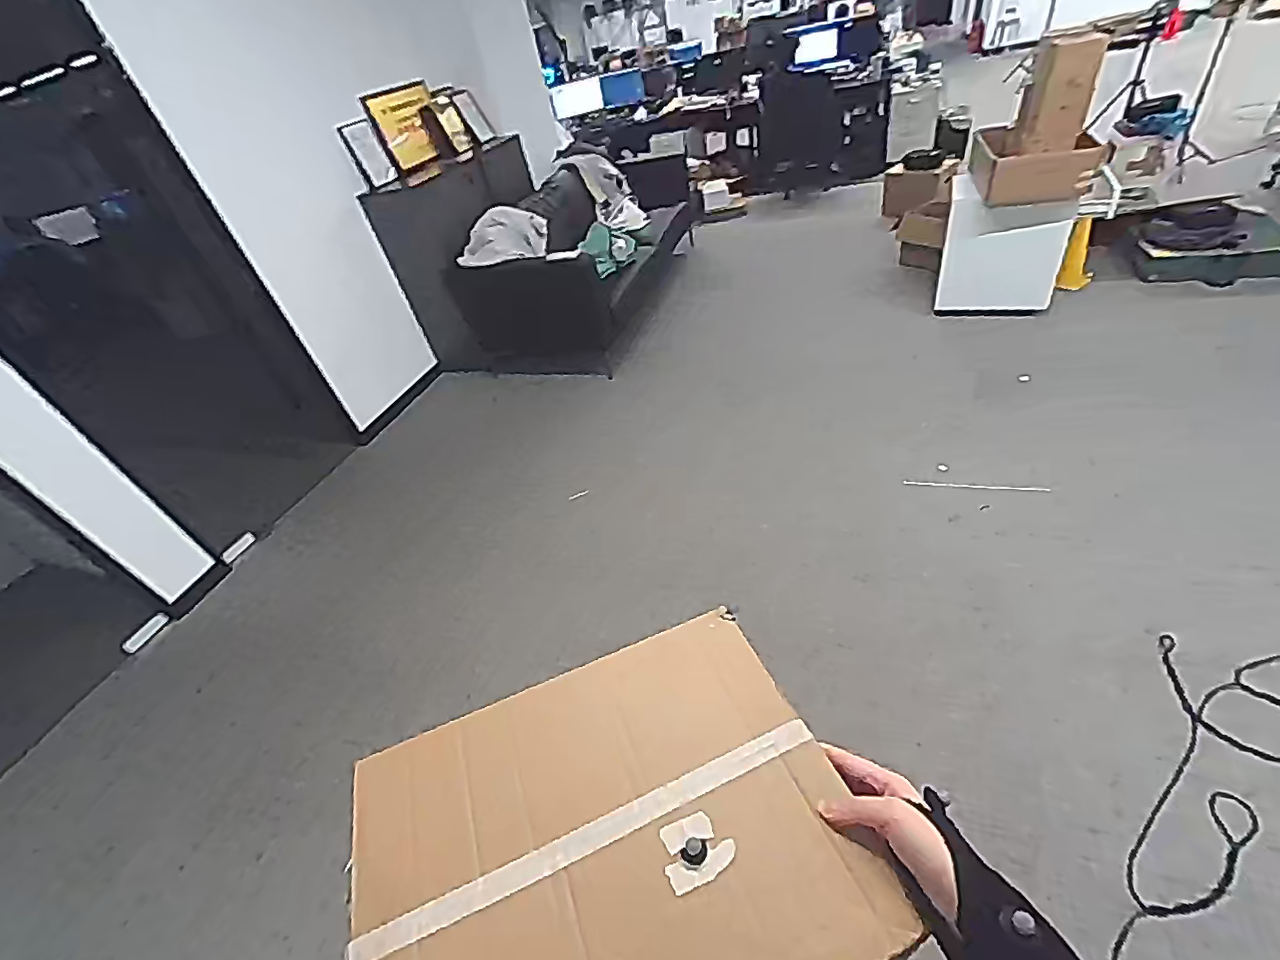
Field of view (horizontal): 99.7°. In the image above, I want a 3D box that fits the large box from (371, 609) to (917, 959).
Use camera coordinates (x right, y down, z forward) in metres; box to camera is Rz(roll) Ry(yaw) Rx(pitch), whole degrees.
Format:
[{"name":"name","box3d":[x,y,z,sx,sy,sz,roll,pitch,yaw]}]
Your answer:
[{"name":"large box","box3d":[-0.014,0.409,0.560,0.408,0.320,0.320,-18,41,-13]}]
